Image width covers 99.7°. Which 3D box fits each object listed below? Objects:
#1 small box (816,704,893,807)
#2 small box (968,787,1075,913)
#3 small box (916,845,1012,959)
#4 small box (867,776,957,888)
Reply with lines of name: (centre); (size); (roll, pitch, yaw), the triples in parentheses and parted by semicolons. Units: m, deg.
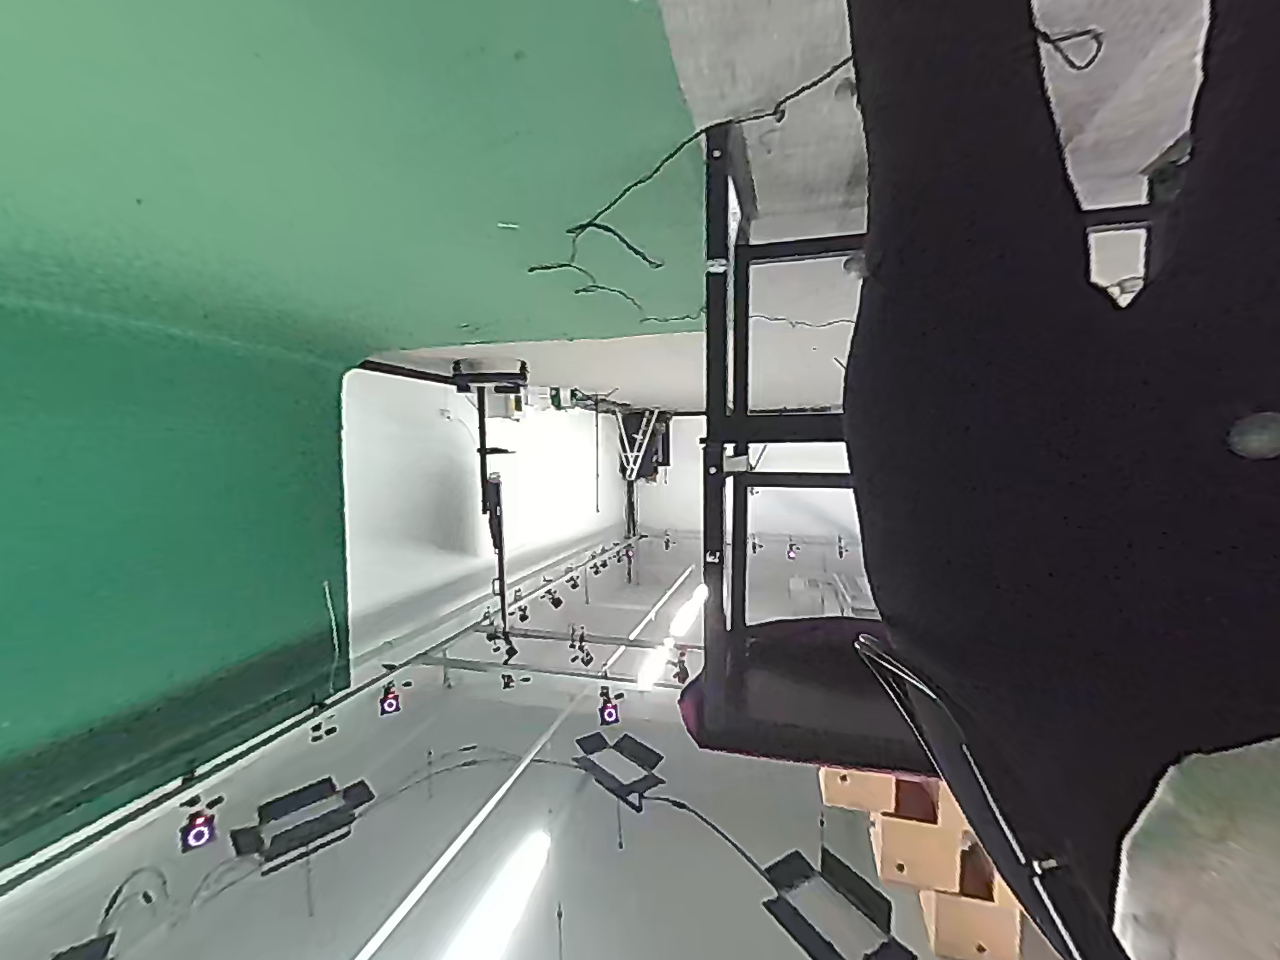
small box: (0.551, 0.704, 1.400); (0.168, 0.176, 0.179); (1, -175, 13)
small box: (0.907, 0.876, 1.298); (0.168, 0.176, 0.179); (1, -176, 15)
small box: (0.800, 1.039, 1.343); (0.179, 0.176, 0.168); (1, -176, 17)
small box: (0.681, 0.873, 1.367); (0.179, 0.176, 0.168); (1, -175, 16)
